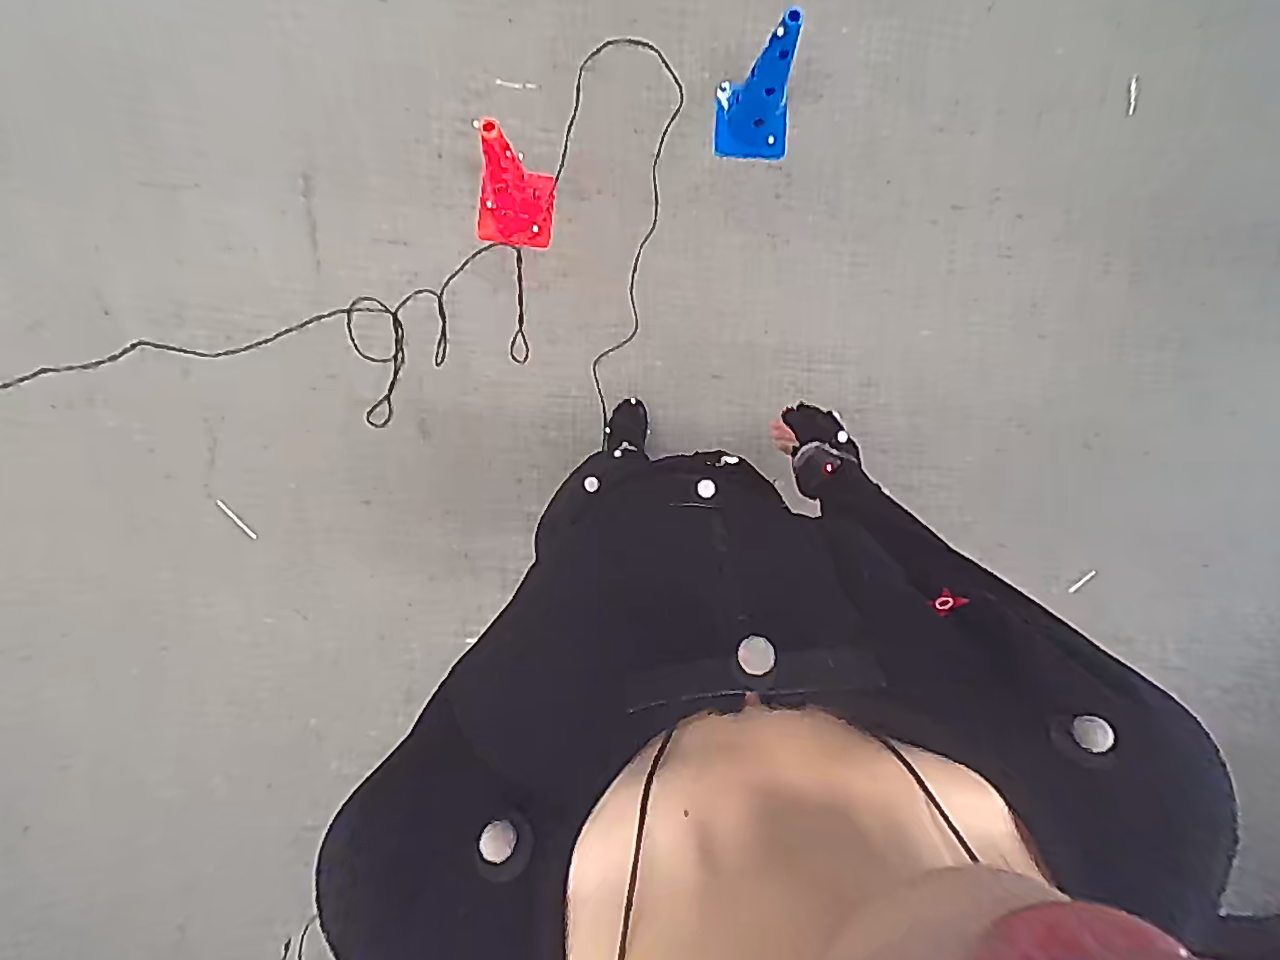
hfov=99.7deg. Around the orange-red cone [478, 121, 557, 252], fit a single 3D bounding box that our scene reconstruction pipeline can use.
[{"bbox_3d":[-0.318,-0.727,1.291,0.198,0.360,0.199,7,89,-4],"label":"orange-red cone"}]
